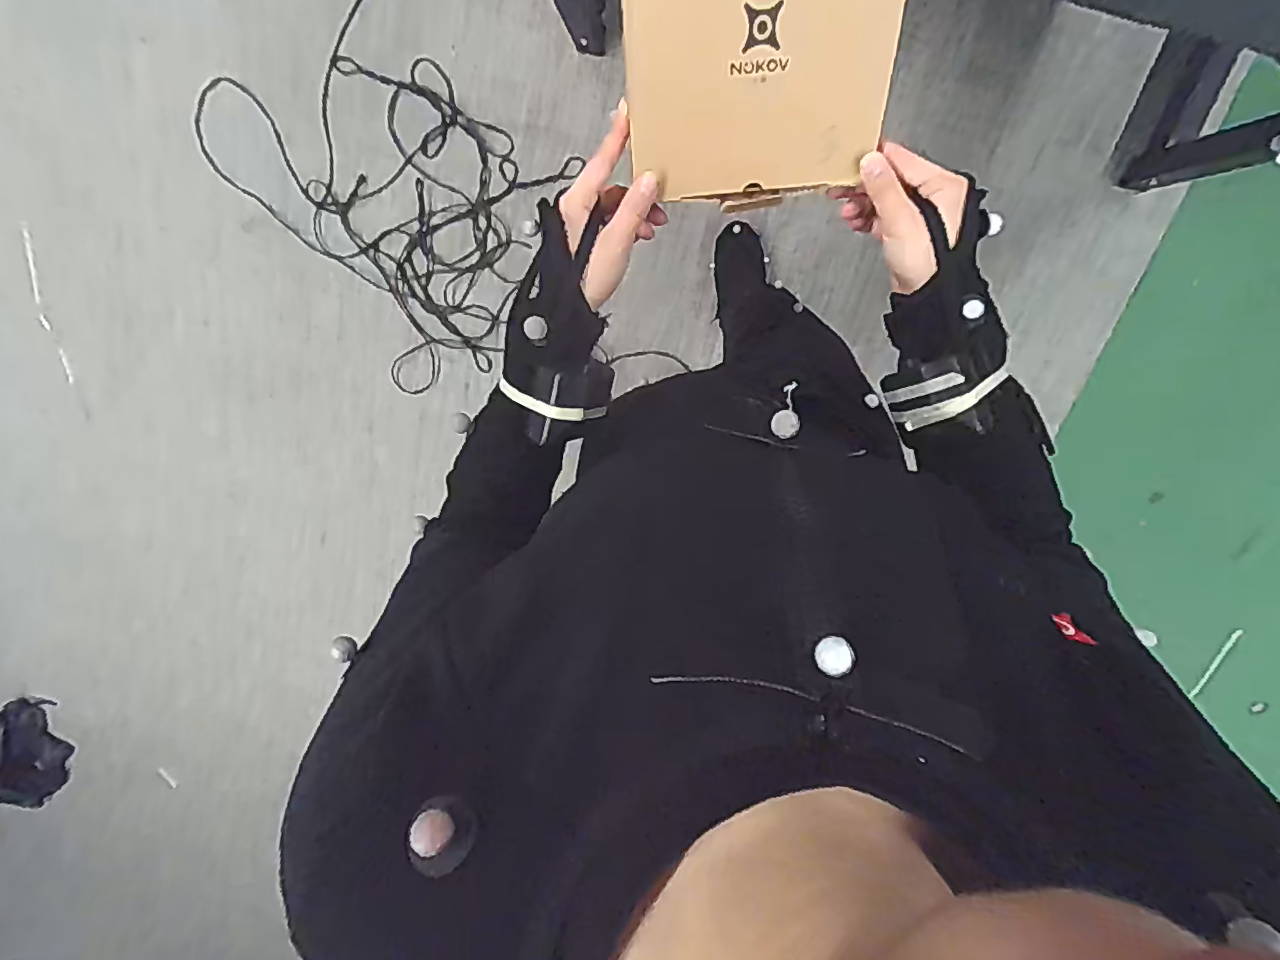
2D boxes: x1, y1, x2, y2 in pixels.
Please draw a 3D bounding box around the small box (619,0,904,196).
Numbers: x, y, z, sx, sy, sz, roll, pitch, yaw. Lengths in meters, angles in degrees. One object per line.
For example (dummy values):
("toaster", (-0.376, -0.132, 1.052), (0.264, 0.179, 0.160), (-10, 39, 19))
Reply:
("small box", (0.069, -0.320, 0.376), (0.168, 0.176, 0.179), (-5, 130, 2))
